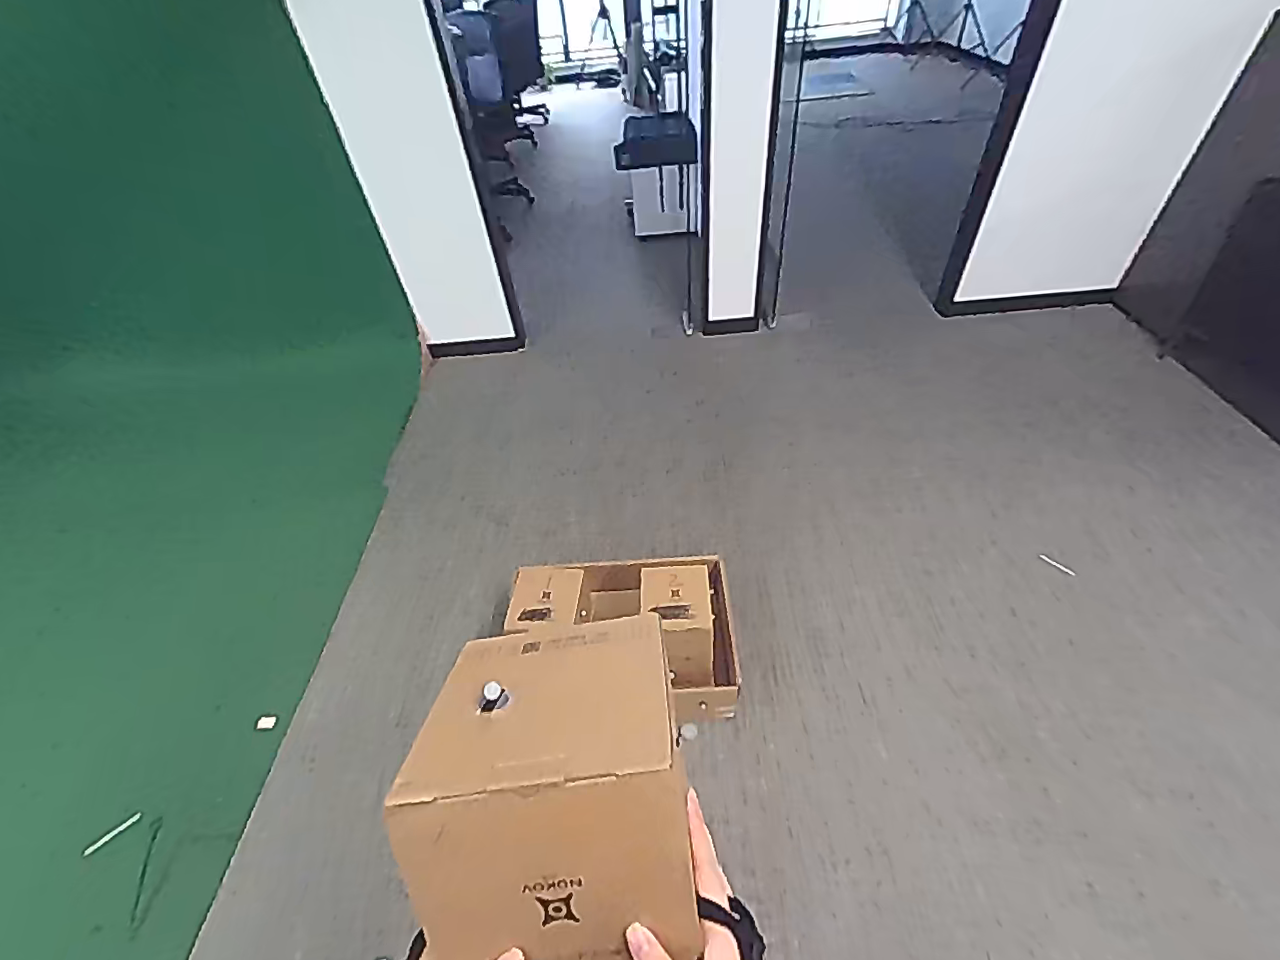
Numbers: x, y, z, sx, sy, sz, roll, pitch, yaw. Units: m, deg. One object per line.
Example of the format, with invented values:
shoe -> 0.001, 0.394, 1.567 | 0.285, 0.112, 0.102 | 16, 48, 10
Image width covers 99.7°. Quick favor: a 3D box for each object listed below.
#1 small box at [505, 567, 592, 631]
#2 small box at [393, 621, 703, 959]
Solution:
small box -> -0.219, 0.339, 1.356 | 0.168, 0.176, 0.179 | 1, 45, 6
small box -> -0.051, 0.221, 0.403 | 0.168, 0.179, 0.176 | -8, 16, 2
